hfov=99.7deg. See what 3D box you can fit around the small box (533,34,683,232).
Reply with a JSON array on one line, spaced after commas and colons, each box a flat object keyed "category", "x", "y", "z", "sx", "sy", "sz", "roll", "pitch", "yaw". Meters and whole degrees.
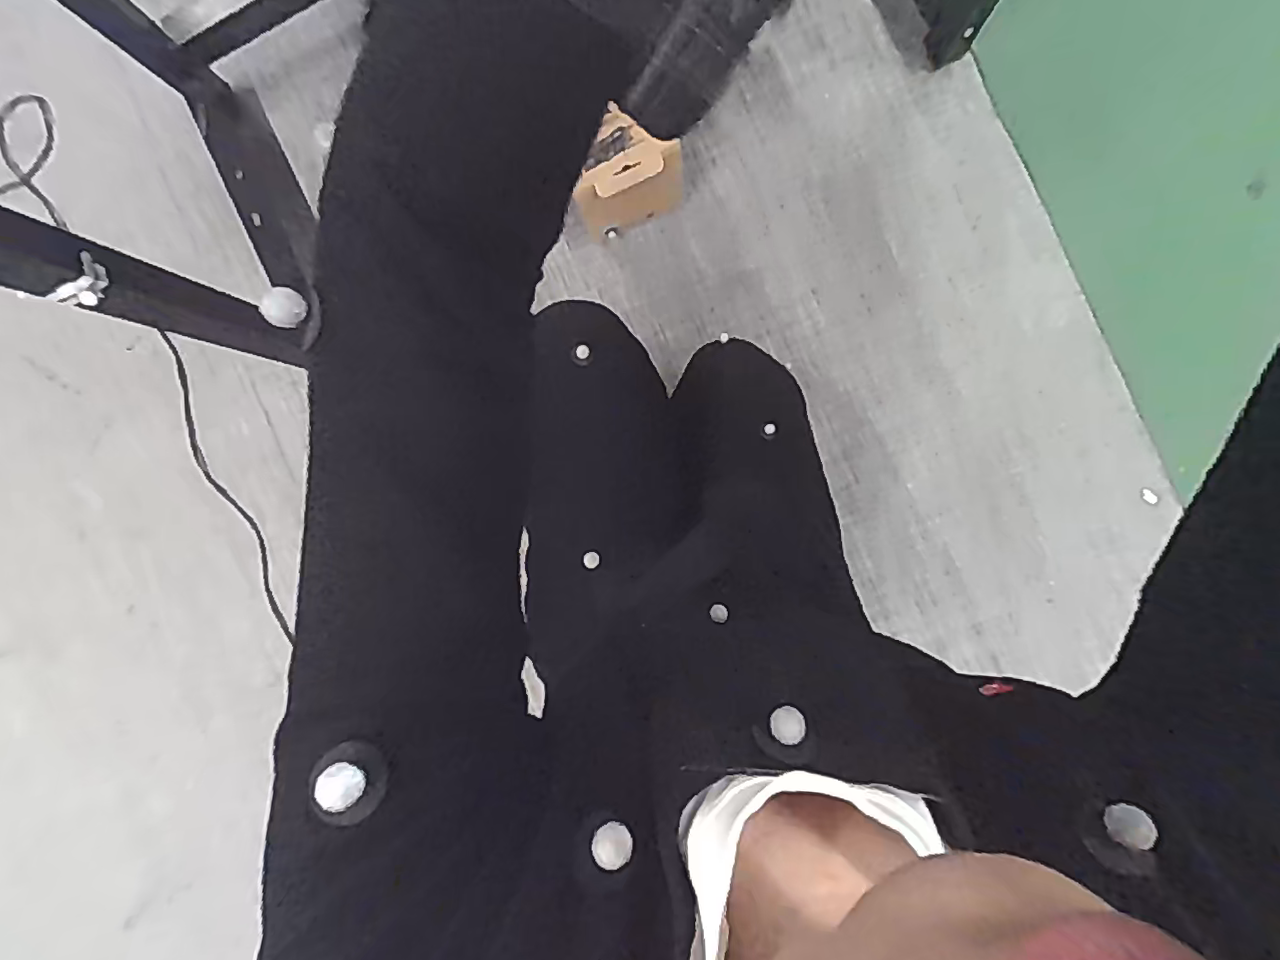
[{"category": "small box", "x": -0.038, "y": -0.517, "z": 0.841, "sx": 0.168, "sy": 0.176, "sz": 0.179, "roll": -22, "pitch": 87, "yaw": 6}]
